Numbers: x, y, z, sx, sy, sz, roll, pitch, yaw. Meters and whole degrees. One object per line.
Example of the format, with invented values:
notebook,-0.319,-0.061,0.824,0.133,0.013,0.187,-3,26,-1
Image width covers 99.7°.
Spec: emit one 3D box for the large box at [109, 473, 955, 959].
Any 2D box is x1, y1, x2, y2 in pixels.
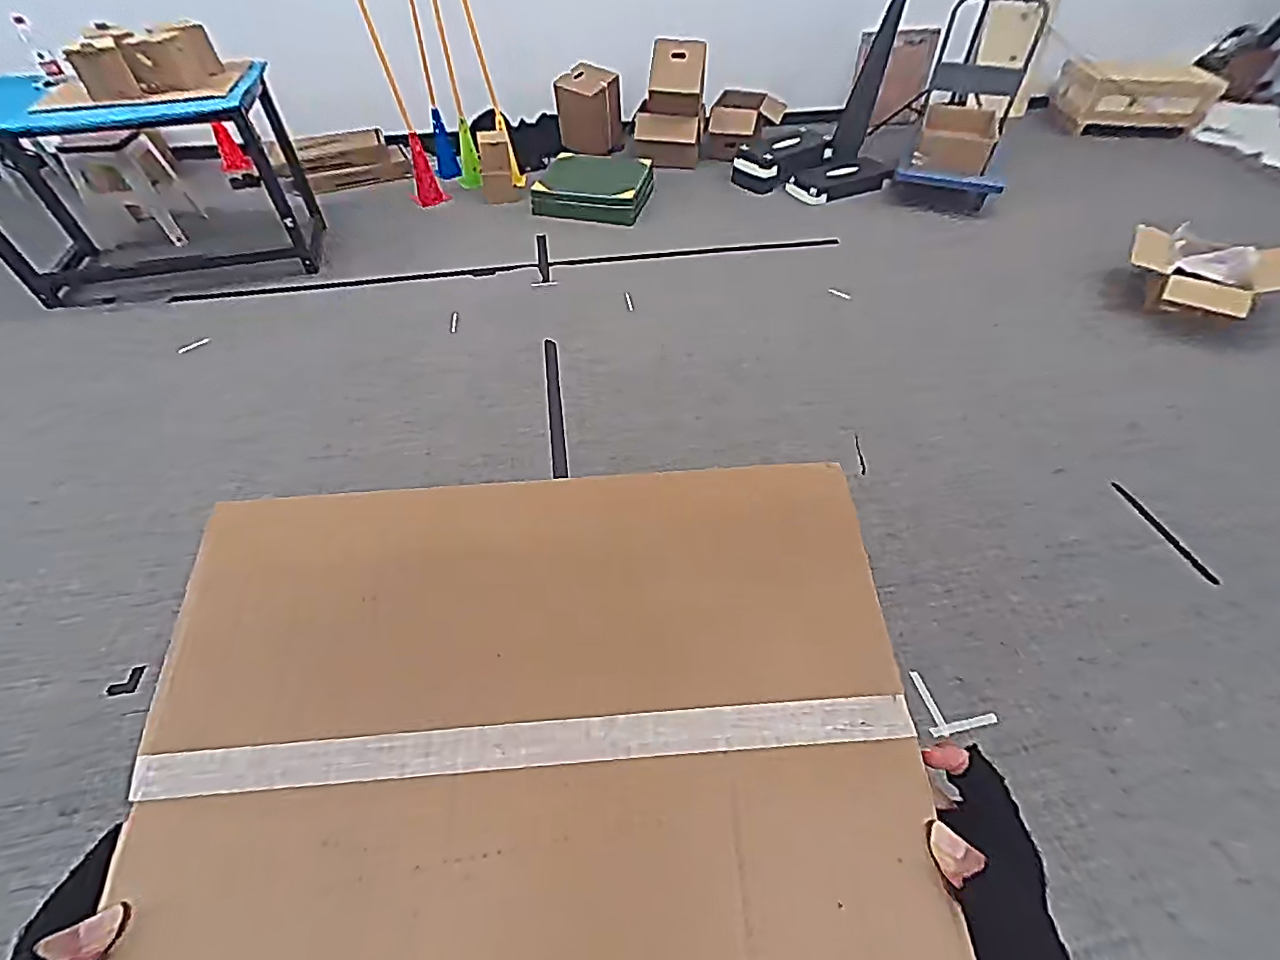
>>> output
large box,-0.057,0.212,0.427,0.408,0.320,0.320,-4,64,-1
